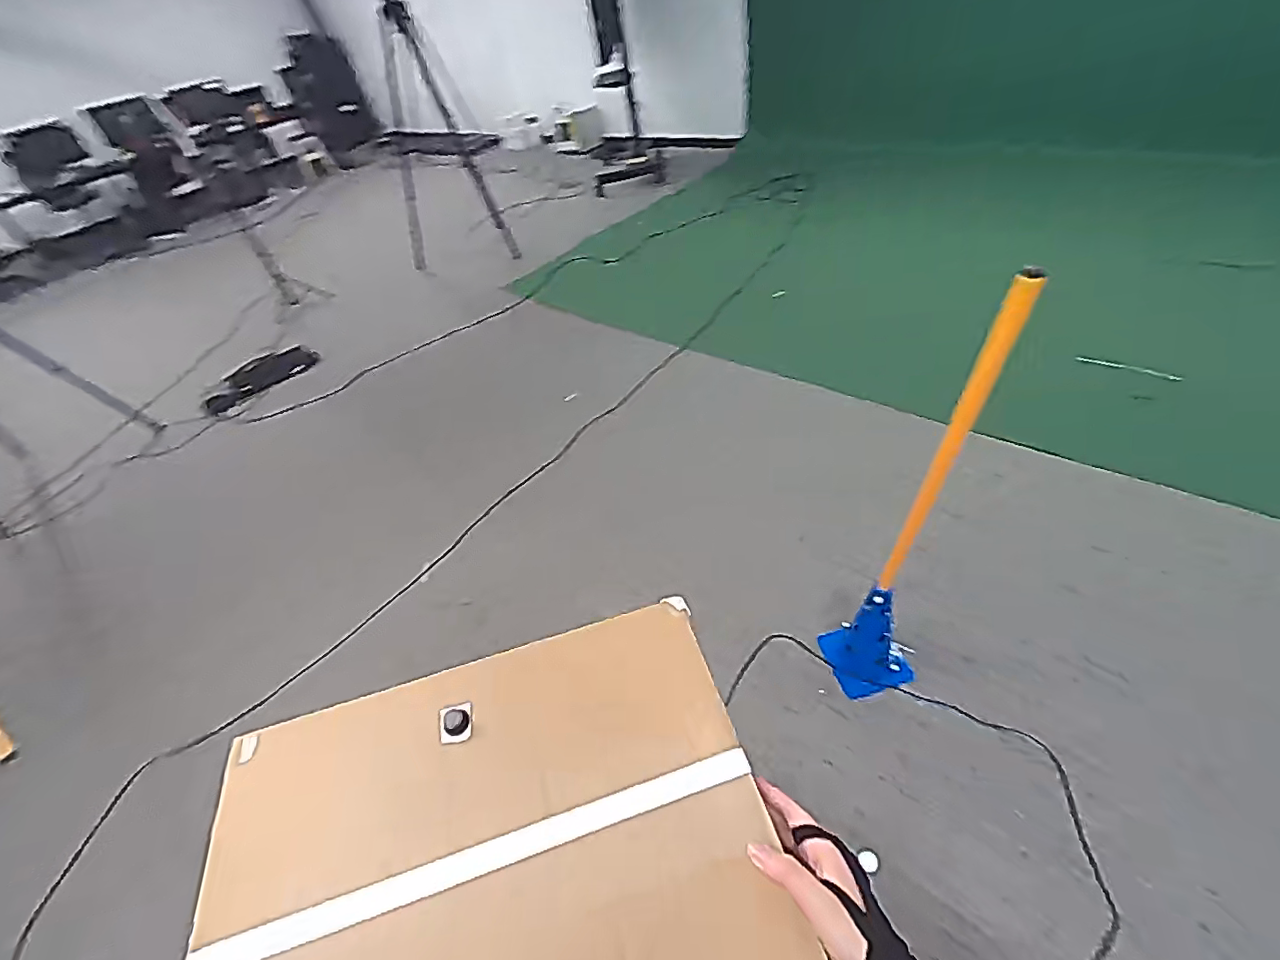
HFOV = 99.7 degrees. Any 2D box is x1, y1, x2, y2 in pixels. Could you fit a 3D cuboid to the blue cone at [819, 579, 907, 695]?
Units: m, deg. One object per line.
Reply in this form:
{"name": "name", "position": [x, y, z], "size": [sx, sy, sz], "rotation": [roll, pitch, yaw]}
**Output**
{"name": "blue cone", "position": [0.593, 0.368, 1.387], "size": [0.193, 0.380, 0.192], "rotation": [-18, 45, -7]}
